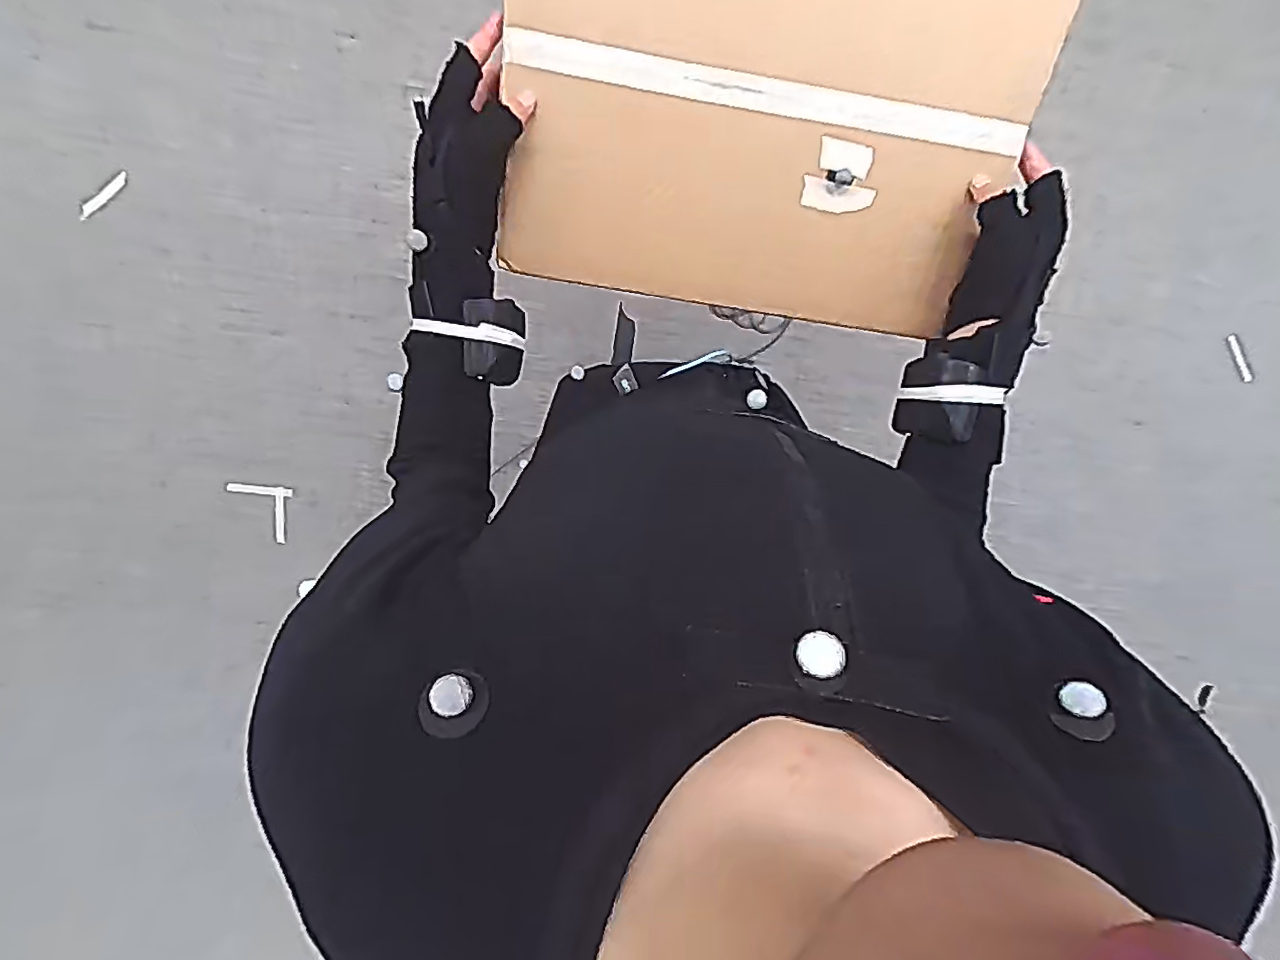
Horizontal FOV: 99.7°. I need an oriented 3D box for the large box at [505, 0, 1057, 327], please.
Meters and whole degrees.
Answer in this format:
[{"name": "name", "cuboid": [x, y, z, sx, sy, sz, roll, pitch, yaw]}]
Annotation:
[{"name": "large box", "cuboid": [0.093, -0.366, 0.555, 0.408, 0.320, 0.320, 8, 117, -5]}]
